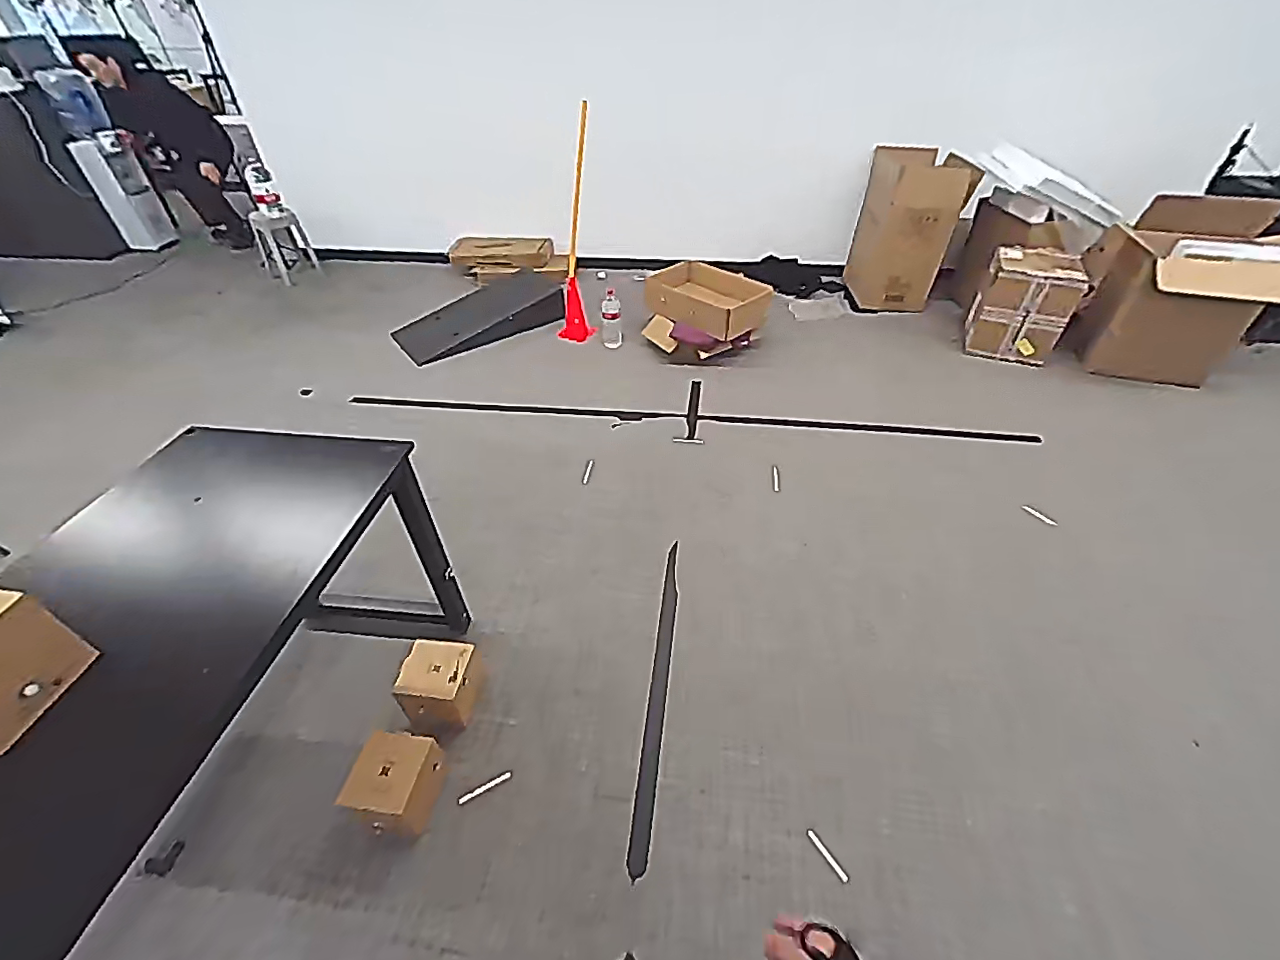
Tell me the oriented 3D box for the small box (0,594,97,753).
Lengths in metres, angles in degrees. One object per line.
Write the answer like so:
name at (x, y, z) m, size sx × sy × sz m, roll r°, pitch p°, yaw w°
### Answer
small box at (-0.981, 0.280, 0.786) m, size 0.179 × 0.176 × 0.168 m, roll 5°, pitch 41°, yaw 6°

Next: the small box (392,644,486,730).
small box at (-0.559, 0.587, 1.531) m, size 0.179 × 0.176 × 0.168 m, roll 3°, pitch 42°, yaw 6°

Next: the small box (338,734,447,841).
small box at (-0.598, 0.760, 1.337) m, size 0.168 × 0.176 × 0.179 m, roll 3°, pitch 42°, yaw 7°
